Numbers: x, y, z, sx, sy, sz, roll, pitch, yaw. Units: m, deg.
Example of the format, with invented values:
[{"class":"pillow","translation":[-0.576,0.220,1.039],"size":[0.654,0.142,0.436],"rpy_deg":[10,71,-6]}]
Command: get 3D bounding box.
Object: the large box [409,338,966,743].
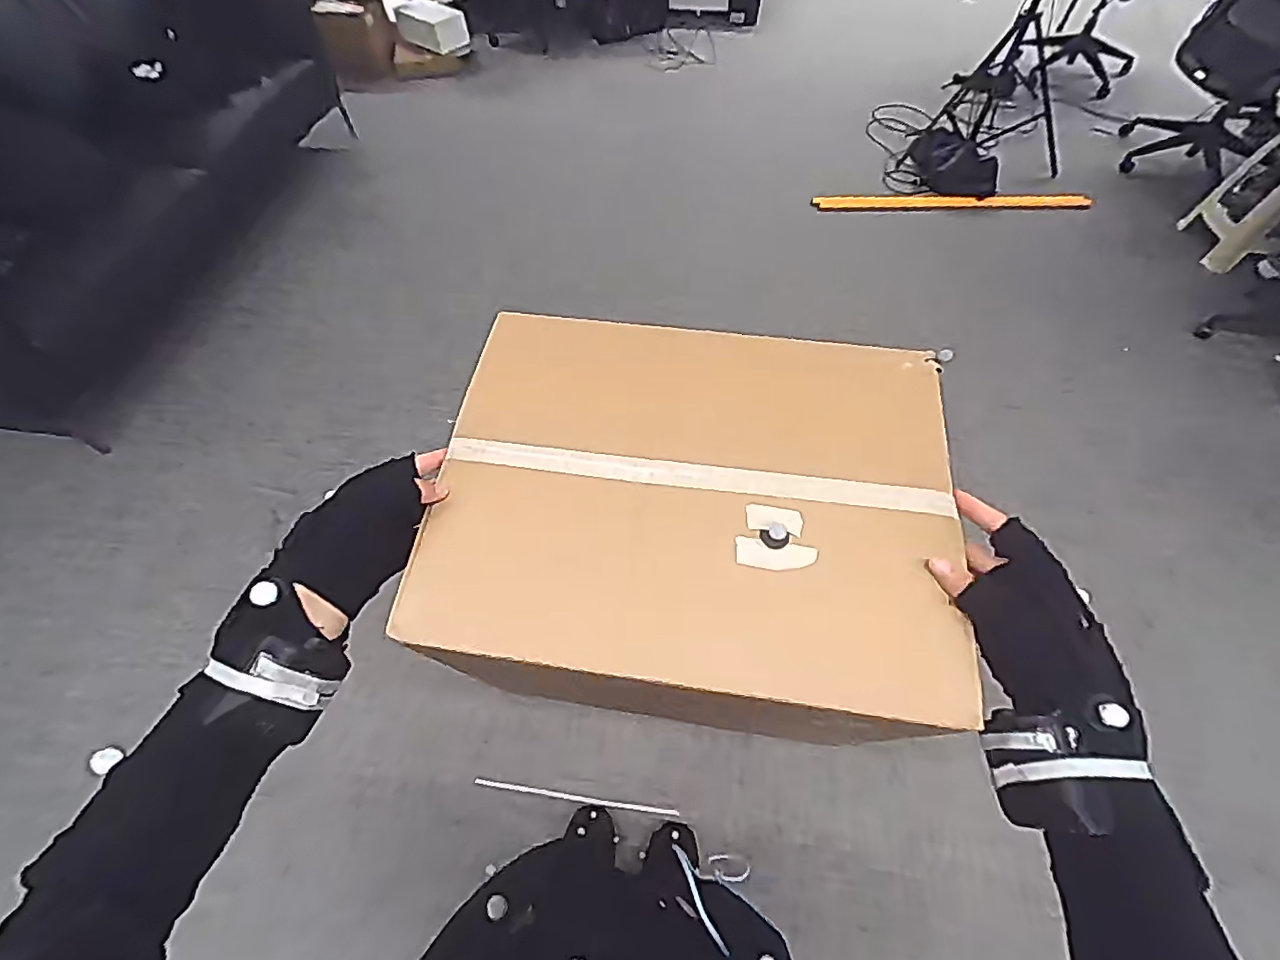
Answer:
[{"class":"large box","translation":[0.046,0.080,0.579],"size":[0.408,0.320,0.320],"rpy_deg":[6,63,5]}]
